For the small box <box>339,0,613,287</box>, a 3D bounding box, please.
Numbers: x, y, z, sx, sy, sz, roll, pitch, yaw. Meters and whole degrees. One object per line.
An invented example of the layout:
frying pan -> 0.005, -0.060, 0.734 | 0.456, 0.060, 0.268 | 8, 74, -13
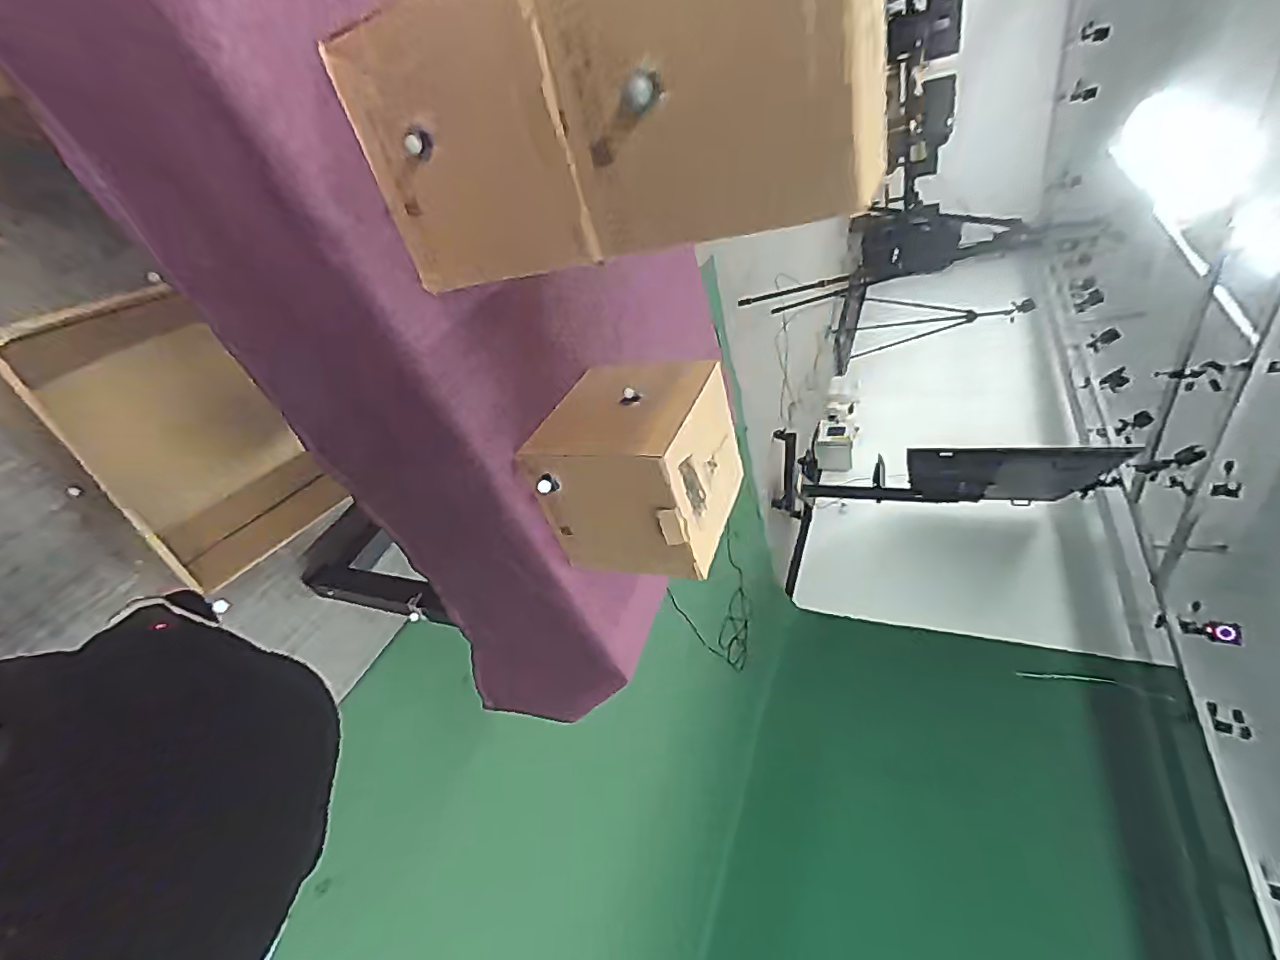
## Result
small box -> -0.086, -0.267, 0.428 | 0.179, 0.176, 0.168 | -54, 138, -44

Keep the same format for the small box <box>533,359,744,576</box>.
small box -> 0.001, -0.017, 0.609 | 0.179, 0.176, 0.168 | -60, 141, -42

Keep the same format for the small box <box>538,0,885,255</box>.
small box -> 0.062, -0.262, 0.355 | 0.179, 0.176, 0.168 | -53, 136, -45
